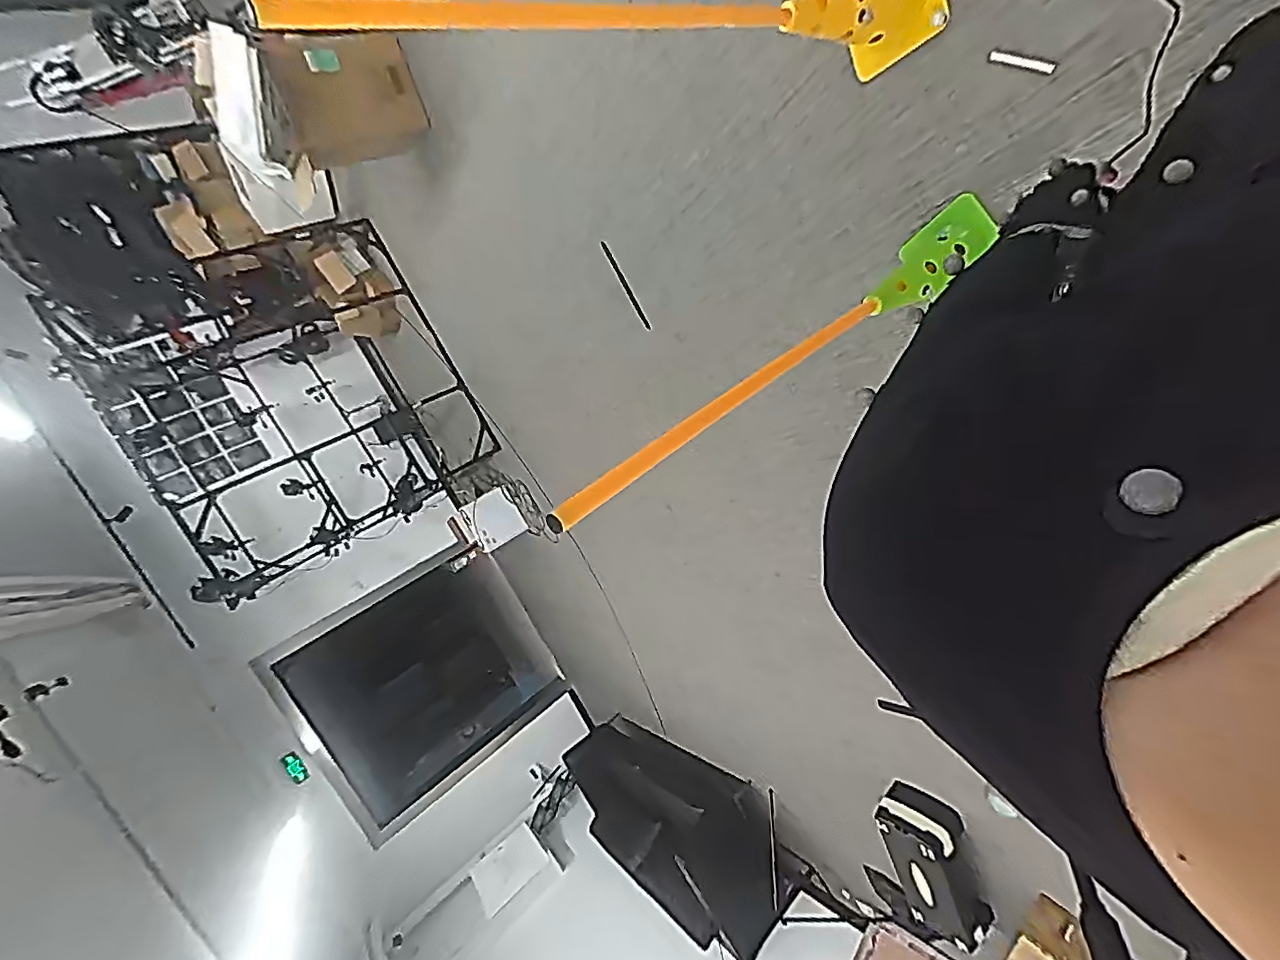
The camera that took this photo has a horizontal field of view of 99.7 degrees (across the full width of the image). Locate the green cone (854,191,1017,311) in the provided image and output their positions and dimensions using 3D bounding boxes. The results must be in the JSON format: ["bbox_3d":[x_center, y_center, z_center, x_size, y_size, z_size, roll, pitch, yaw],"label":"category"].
[{"bbox_3d":[0.573,-0.429,1.132,0.202,0.368,0.200,56,152,5],"label":"green cone"}]
